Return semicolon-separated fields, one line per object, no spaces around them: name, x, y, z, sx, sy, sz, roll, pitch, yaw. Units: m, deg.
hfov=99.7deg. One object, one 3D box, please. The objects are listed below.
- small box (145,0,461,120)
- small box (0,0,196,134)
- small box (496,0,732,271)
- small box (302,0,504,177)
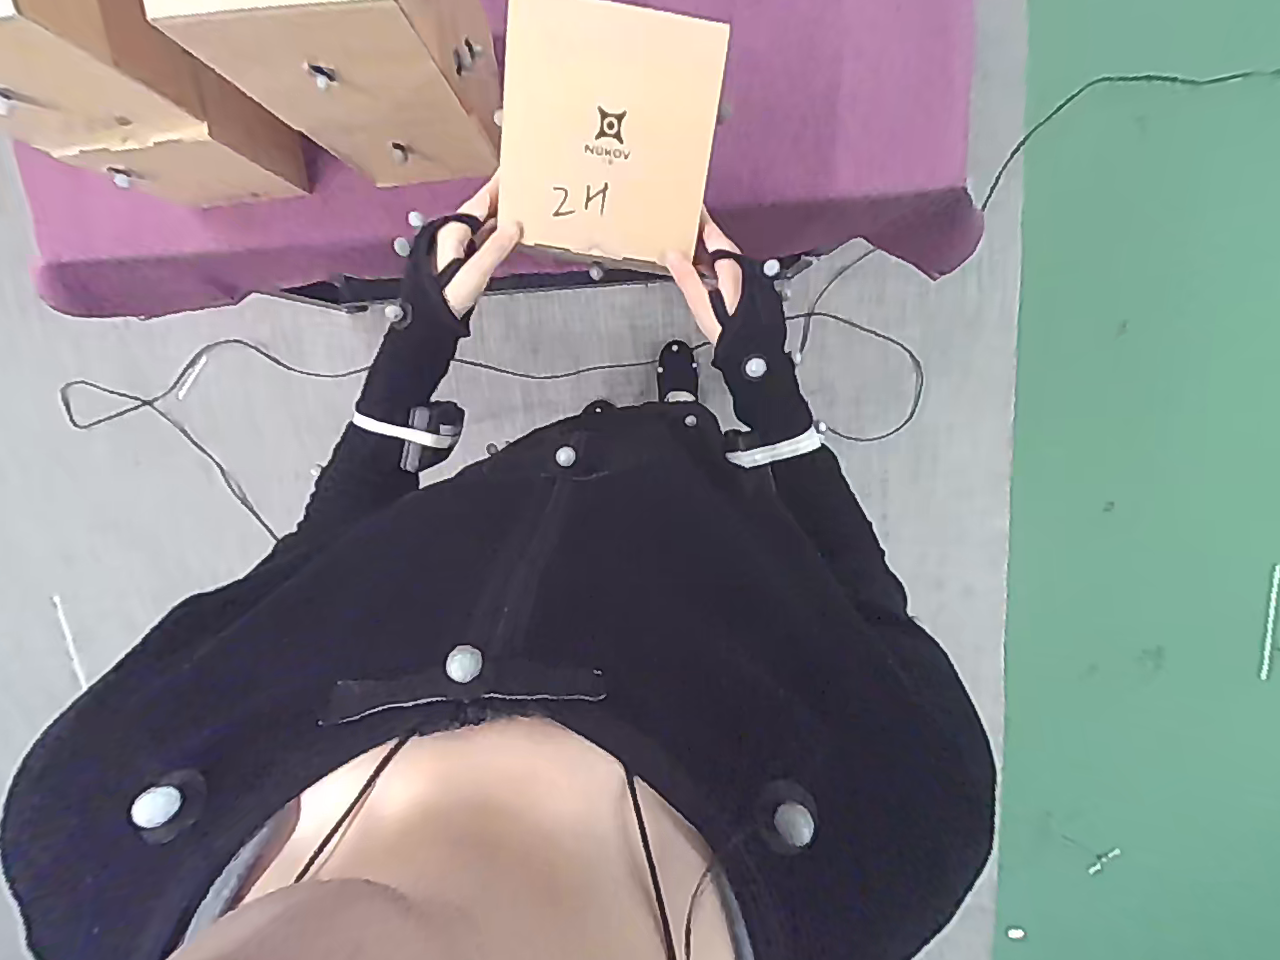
small box;-0.256;-0.419;0.433;0.179;0.176;0.168;-4;100;2
small box;-0.517;-0.411;0.439;0.168;0.176;0.179;-8;99;2
small box;-0.027;-0.297;0.495;0.168;0.176;0.179;8;110;-4
small box;-0.257;-0.453;0.594;0.179;0.176;0.168;-5;100;1
